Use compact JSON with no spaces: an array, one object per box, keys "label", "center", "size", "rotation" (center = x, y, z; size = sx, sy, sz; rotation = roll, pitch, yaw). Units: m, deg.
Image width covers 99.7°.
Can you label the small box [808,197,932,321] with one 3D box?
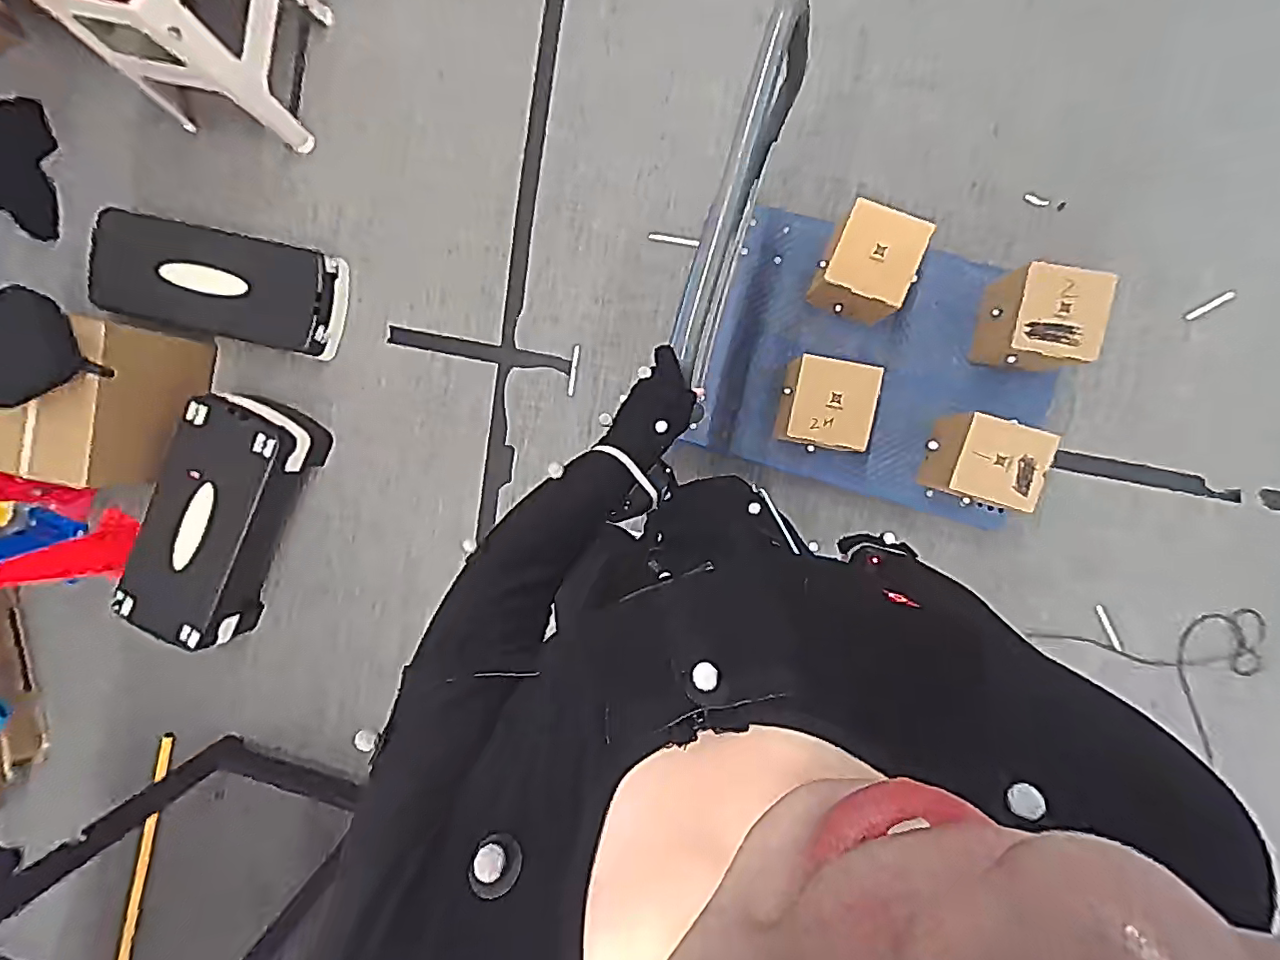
[{"label":"small box","center":[0.482,-0.464,1.164],"size":[0.168,0.176,0.179],"rotation":[21,97,2]}]

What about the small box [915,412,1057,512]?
[{"label":"small box","center":[0.739,-0.043,1.174],"size":[0.179,0.176,0.168],"rotation":[18,95,4]}]

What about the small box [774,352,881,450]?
[{"label":"small box","center":[0.402,-0.168,1.190],"size":[0.168,0.176,0.179],"rotation":[12,95,4]}]
